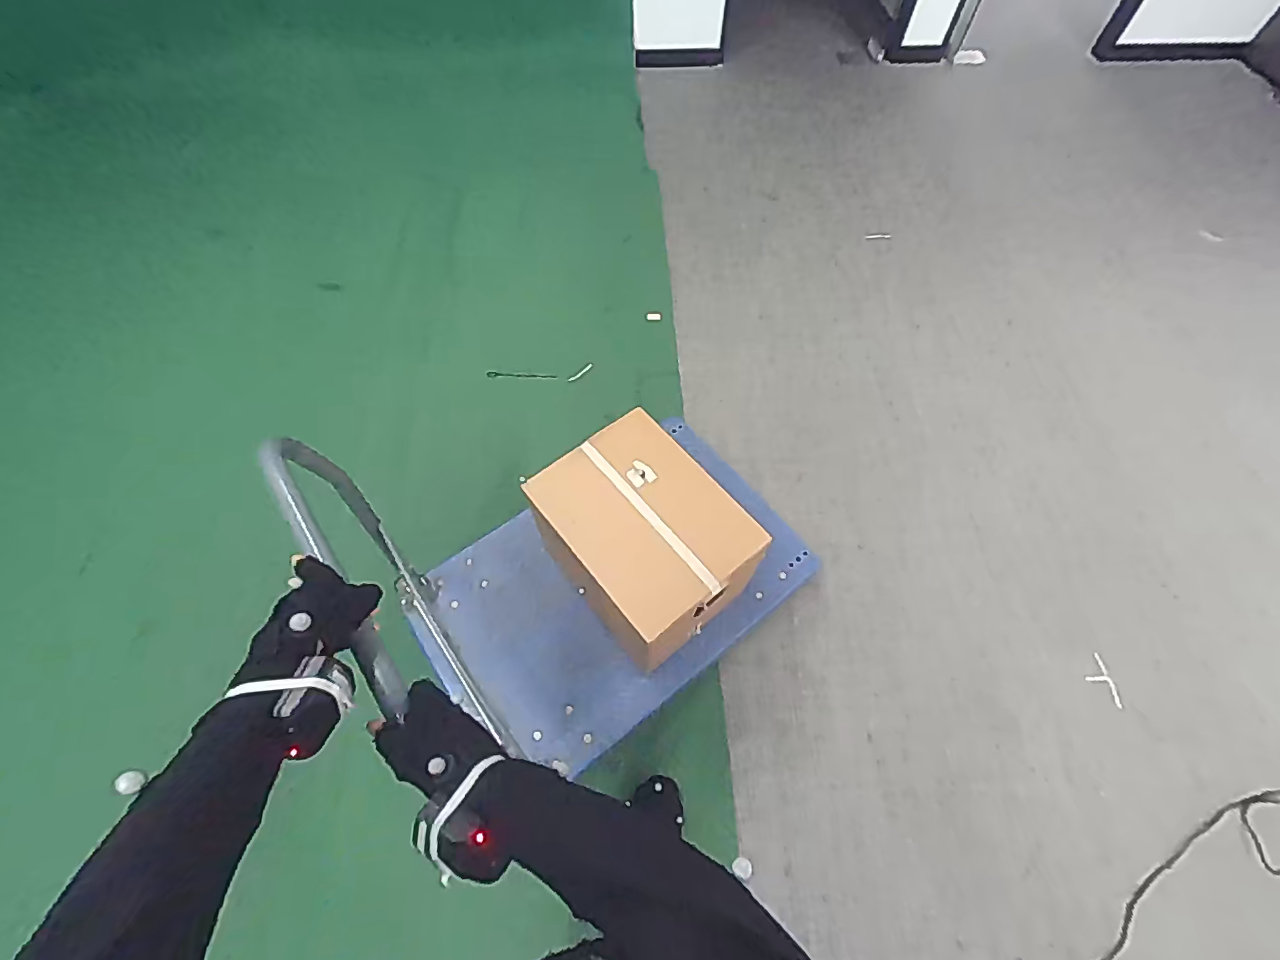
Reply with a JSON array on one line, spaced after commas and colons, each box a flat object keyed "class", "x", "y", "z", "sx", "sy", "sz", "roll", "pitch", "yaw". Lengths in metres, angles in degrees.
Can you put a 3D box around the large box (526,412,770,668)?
[{"class": "large box", "x": 0.013, "y": 0.138, "z": 1.192, "sx": 0.320, "sy": 0.320, "sz": 0.408, "roll": -35, "pitch": 67, "yaw": -19}]
